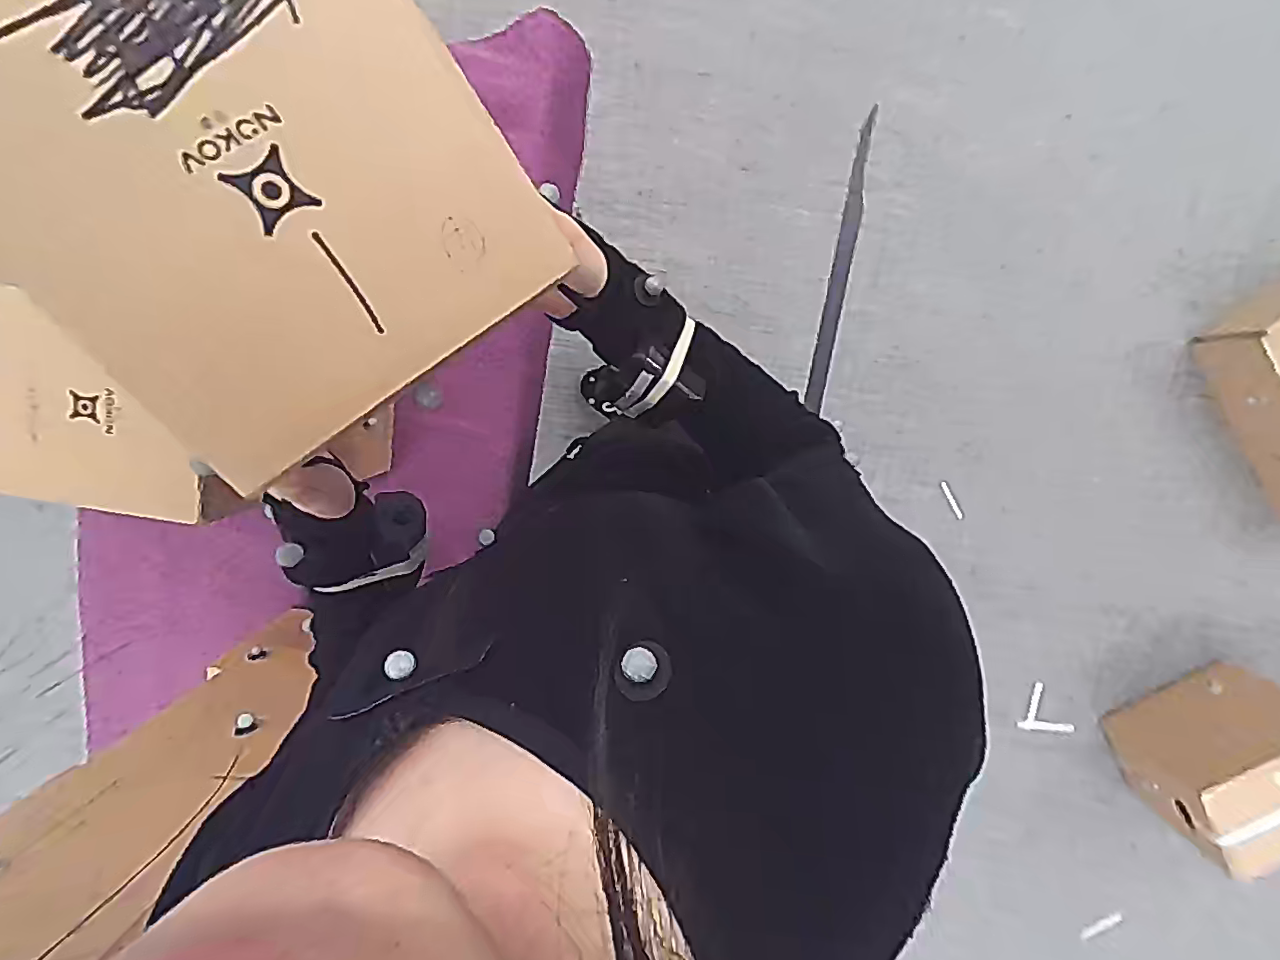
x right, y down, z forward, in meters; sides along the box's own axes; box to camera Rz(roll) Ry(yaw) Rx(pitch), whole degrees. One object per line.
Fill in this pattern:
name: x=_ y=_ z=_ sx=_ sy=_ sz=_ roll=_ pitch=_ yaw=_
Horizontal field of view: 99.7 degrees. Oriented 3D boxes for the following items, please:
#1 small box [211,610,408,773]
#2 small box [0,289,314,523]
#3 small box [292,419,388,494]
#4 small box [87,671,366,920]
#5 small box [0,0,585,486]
small box: x=-0.438 y=0.293 z=0.743 sx=0.179 sy=0.176 sz=0.168 roll=7 pitch=101 yaw=-1
small box: x=-0.426 y=-0.071 z=0.505 sx=0.179 sy=0.176 sz=0.168 roll=9 pitch=100 yaw=-2
small box: x=-0.425 y=-0.090 z=0.666 sx=0.179 sy=0.176 sz=0.168 roll=8 pitch=100 yaw=-2
small box: x=-0.416 y=0.323 z=0.582 sx=0.179 sy=0.176 sz=0.168 roll=2 pitch=101 yaw=-1
small box: x=-0.159 y=-0.122 z=0.272 sx=0.168 sy=0.176 sz=0.179 roll=-38 pitch=111 yaw=-10
